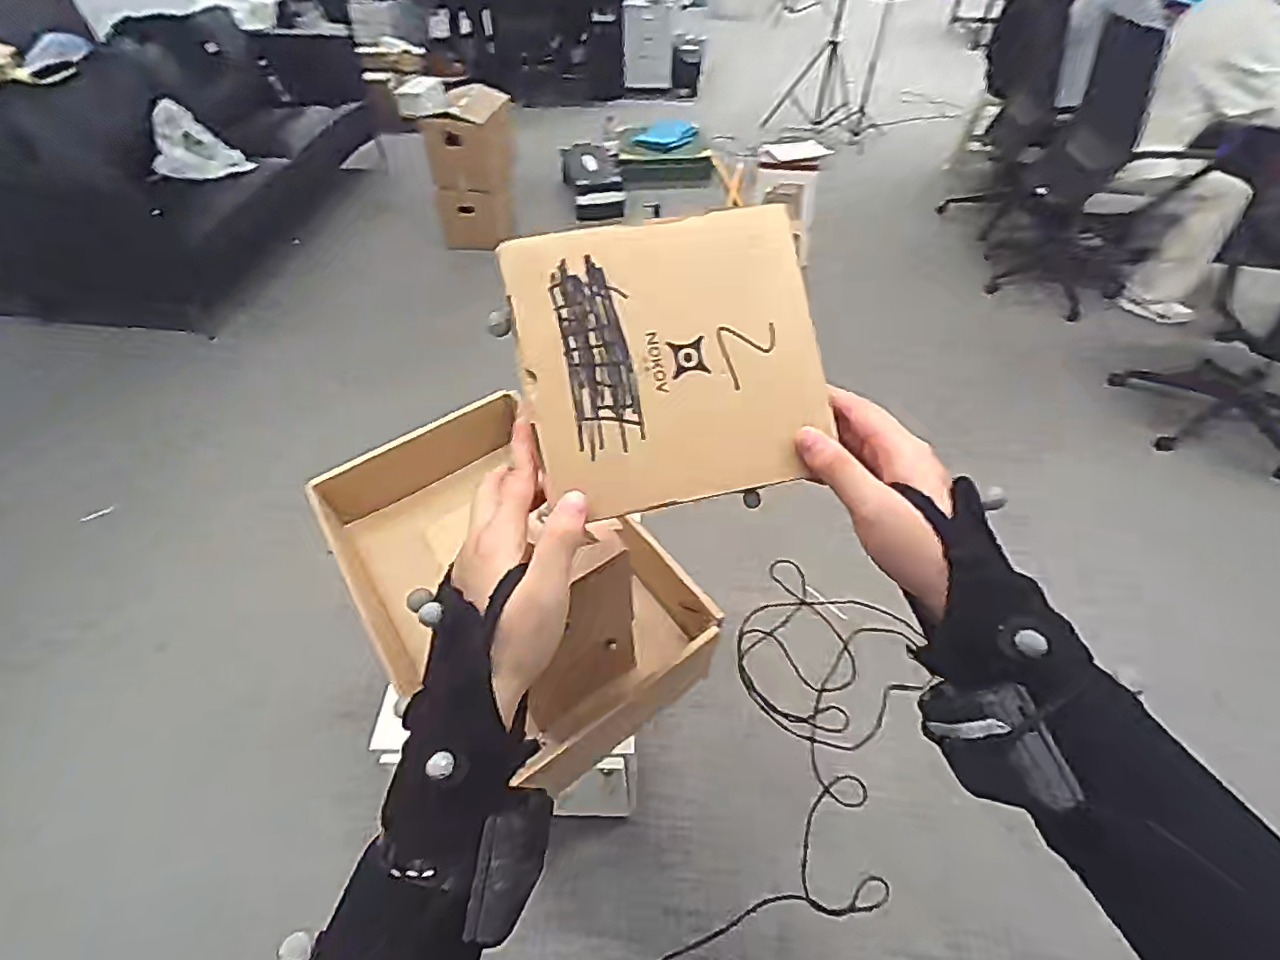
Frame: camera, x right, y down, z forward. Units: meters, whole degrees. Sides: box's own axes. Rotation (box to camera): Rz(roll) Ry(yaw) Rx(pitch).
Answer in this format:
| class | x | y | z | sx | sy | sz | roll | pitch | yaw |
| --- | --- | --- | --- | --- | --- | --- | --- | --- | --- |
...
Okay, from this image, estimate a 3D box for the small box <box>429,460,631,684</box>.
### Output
| class | x | y | z | sx | sy | sz | roll | pitch | yaw |
| --- | --- | --- | --- | --- | --- | --- | --- | --- | --- |
| small box | -0.124 | 0.113 | 0.665 | 0.179 | 0.176 | 0.168 | -29 | 54 | -20 |
